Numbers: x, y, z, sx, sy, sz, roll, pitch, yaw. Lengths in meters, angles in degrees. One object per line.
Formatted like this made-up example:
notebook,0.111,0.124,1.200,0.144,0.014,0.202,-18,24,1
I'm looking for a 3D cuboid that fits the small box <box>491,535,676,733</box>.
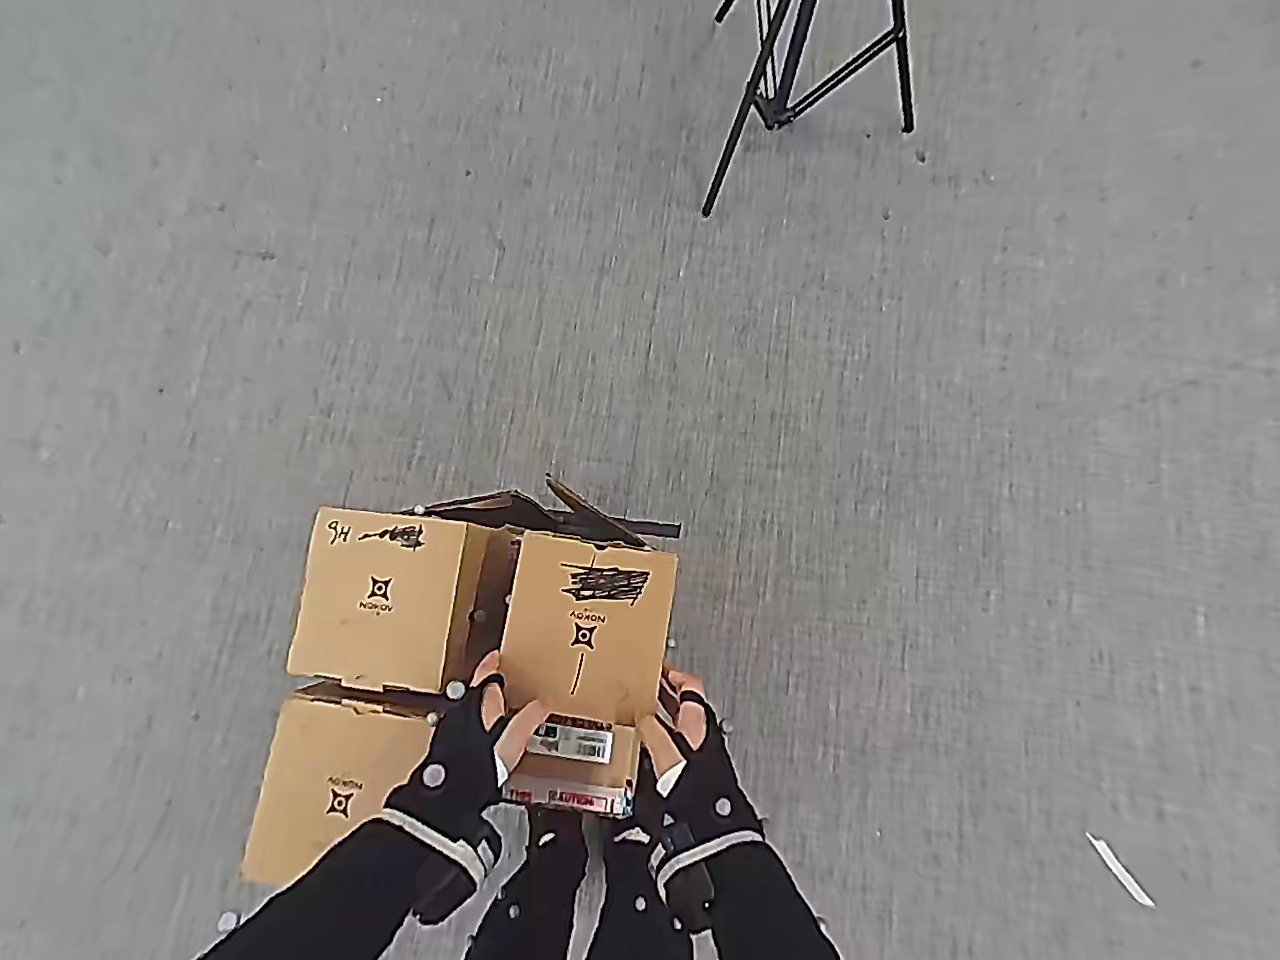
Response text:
small box,-0.056,0.168,0.627,0.168,0.176,0.179,8,80,2
